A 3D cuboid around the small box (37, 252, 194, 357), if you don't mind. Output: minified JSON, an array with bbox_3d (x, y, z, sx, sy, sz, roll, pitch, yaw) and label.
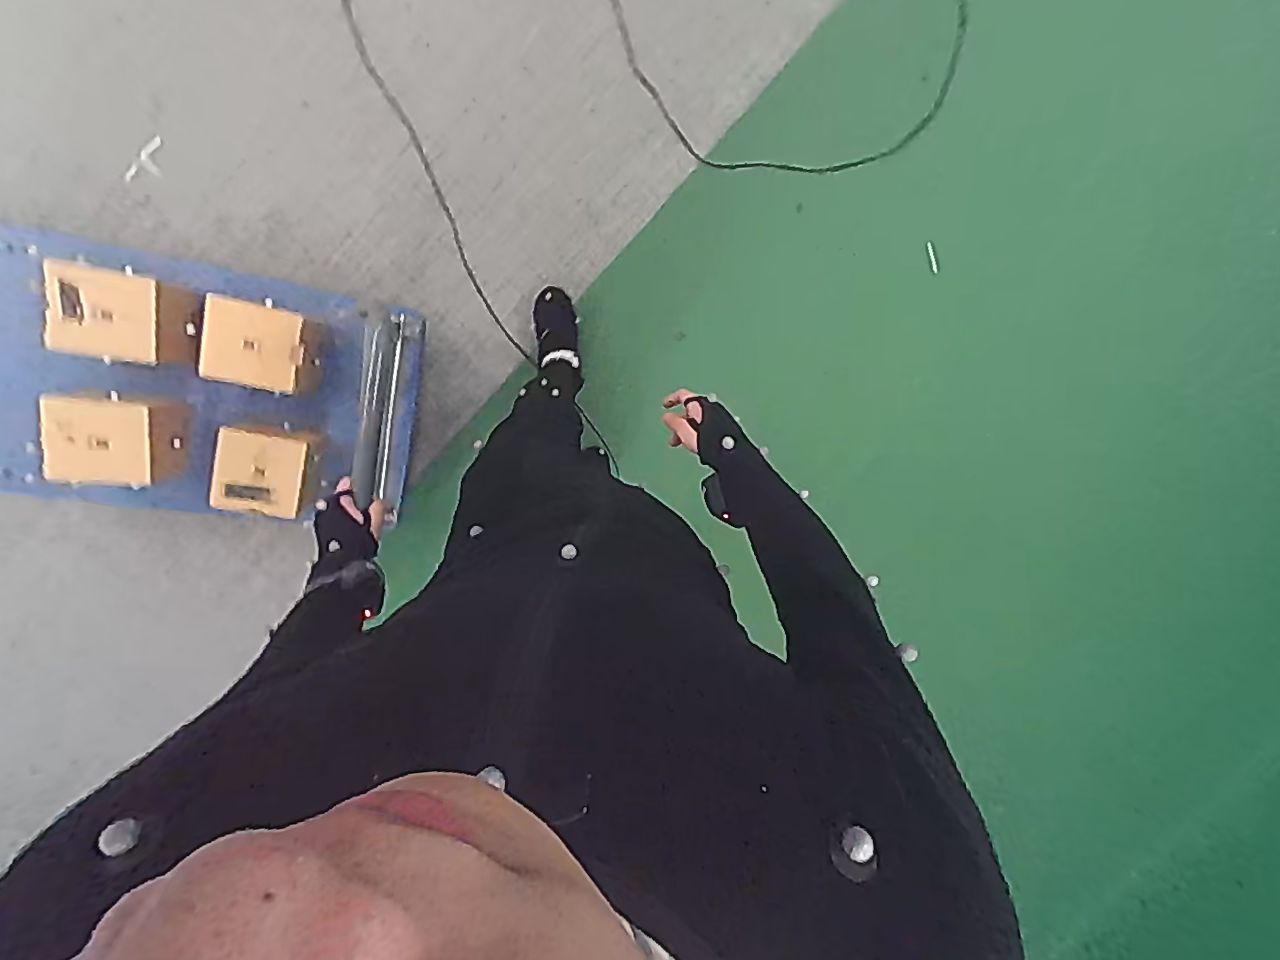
[{"bbox_3d":[-1.060,-0.349,1.105,0.179,0.176,0.168,7,101,-18],"label":"small box"}]

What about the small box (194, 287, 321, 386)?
[{"bbox_3d":[-0.828,-0.307,1.185,0.179,0.176,0.168,10,100,-19],"label":"small box"}]

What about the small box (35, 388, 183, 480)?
[{"bbox_3d":[-1.109,-0.102,1.147,0.179,0.176,0.168,4,100,-17],"label":"small box"}]
